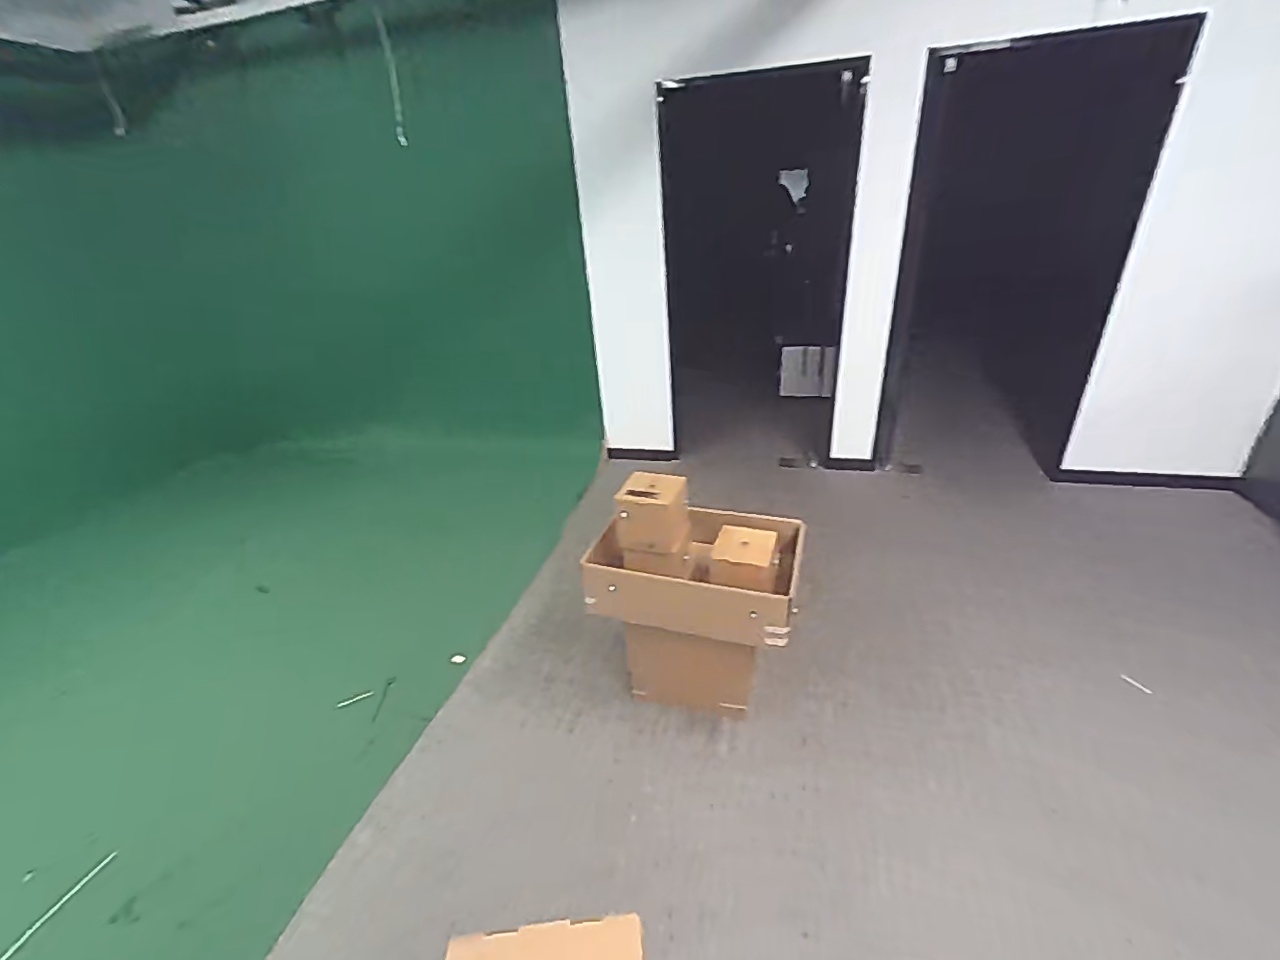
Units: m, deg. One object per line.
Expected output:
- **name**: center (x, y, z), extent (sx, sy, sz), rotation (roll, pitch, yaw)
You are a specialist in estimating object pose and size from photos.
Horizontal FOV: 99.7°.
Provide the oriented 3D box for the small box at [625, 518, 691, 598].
- **small box**: center (0.060, 0.241, 1.693), extent (0.168, 0.176, 0.179), rotation (5, 30, 18)
